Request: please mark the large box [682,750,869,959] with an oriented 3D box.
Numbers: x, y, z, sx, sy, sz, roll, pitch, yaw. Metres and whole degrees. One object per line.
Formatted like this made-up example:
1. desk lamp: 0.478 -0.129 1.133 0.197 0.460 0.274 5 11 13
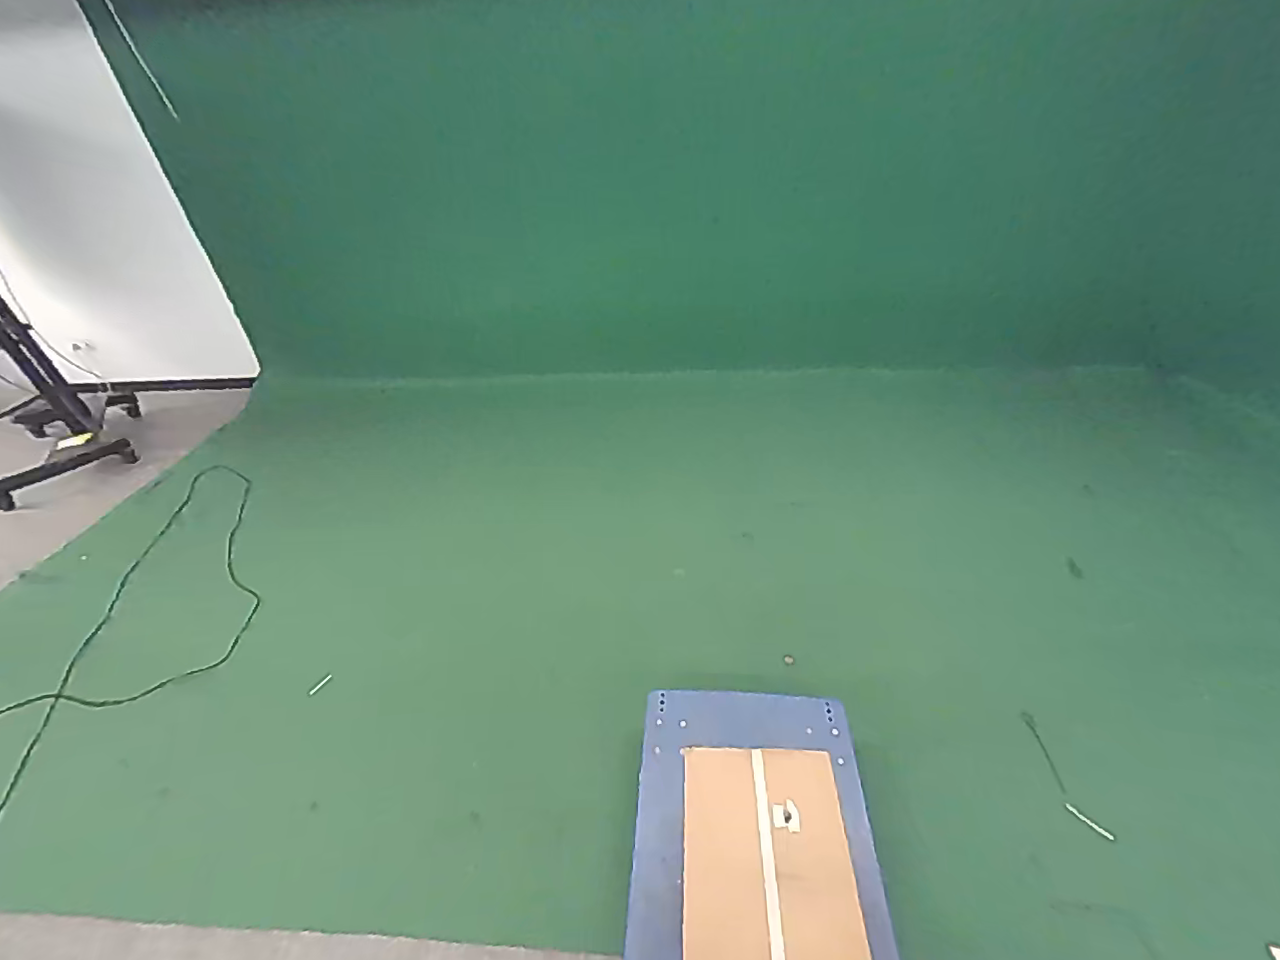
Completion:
1. large box: 0.250 0.837 1.121 0.320 0.320 0.408 -1 36 5
